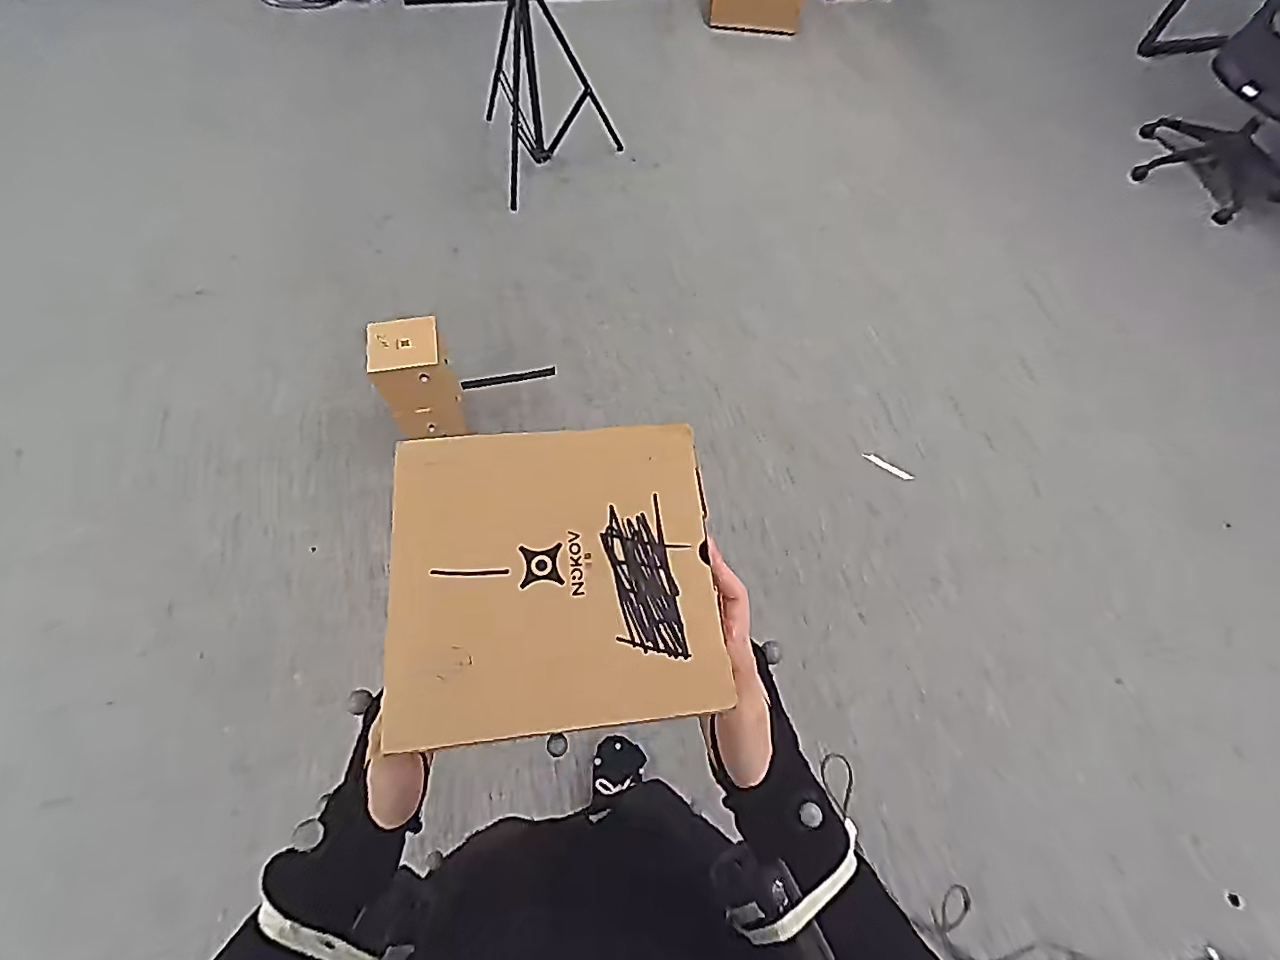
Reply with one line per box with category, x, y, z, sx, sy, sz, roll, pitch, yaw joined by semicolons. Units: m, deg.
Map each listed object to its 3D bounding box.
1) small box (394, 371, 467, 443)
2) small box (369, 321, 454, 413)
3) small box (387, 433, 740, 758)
small box;-0.617;-0.222;1.602;0.168;0.176;0.179;-9;64;-8
small box;-0.607;-0.301;1.456;0.179;0.176;0.168;-10;63;-8
small box;-0.051;0.080;0.367;0.179;0.176;0.168;-4;68;-8
